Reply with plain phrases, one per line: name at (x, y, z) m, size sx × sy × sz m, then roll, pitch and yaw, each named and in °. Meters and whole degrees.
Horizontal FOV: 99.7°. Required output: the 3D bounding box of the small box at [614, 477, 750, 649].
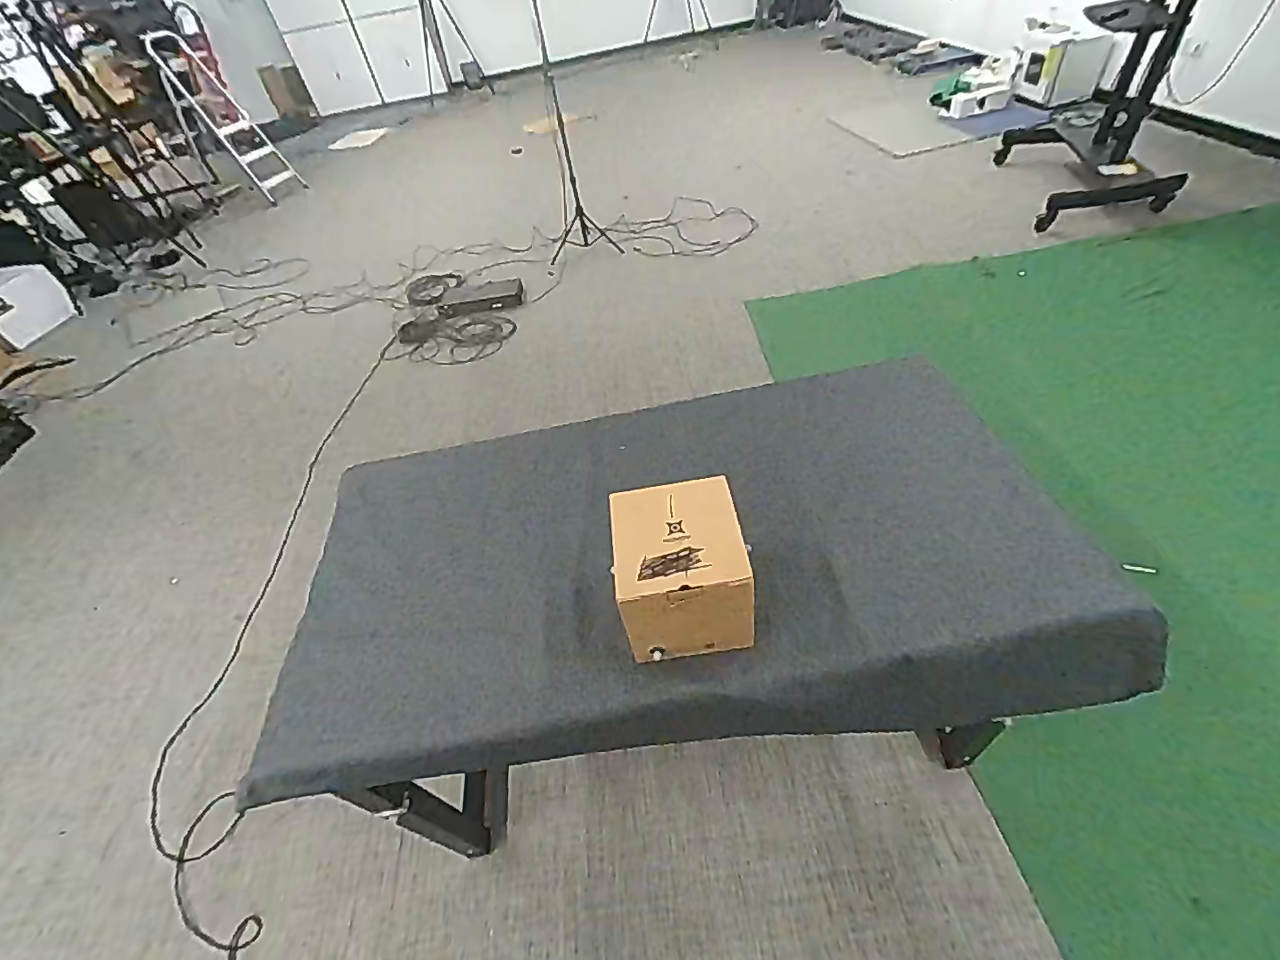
small box at (0.059, 0.123, 0.761) m, size 0.168 × 0.176 × 0.179 m, roll -8°, pitch 45°, yaw 3°
